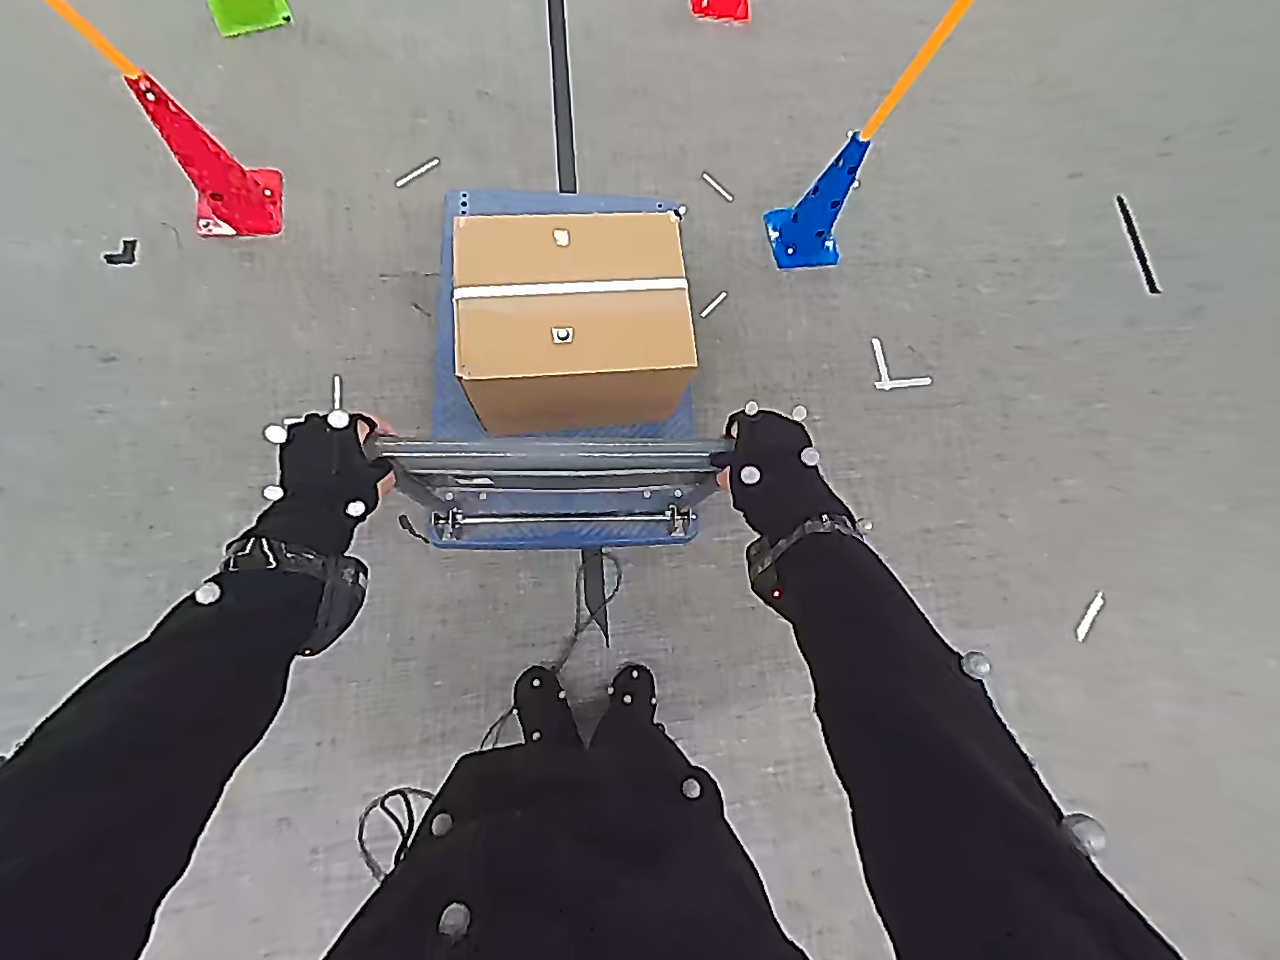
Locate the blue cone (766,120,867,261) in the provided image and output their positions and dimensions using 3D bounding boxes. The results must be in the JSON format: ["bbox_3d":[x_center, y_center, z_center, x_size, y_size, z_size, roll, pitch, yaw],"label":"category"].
[{"bbox_3d":[0.499,-0.777,1.447,0.193,0.380,0.192,-8,77,-9],"label":"blue cone"}]

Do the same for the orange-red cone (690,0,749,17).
[{"bbox_3d":[0.285,-1.647,1.610,0.199,0.360,0.198,3,77,-8],"label":"orange-red cone"}]
